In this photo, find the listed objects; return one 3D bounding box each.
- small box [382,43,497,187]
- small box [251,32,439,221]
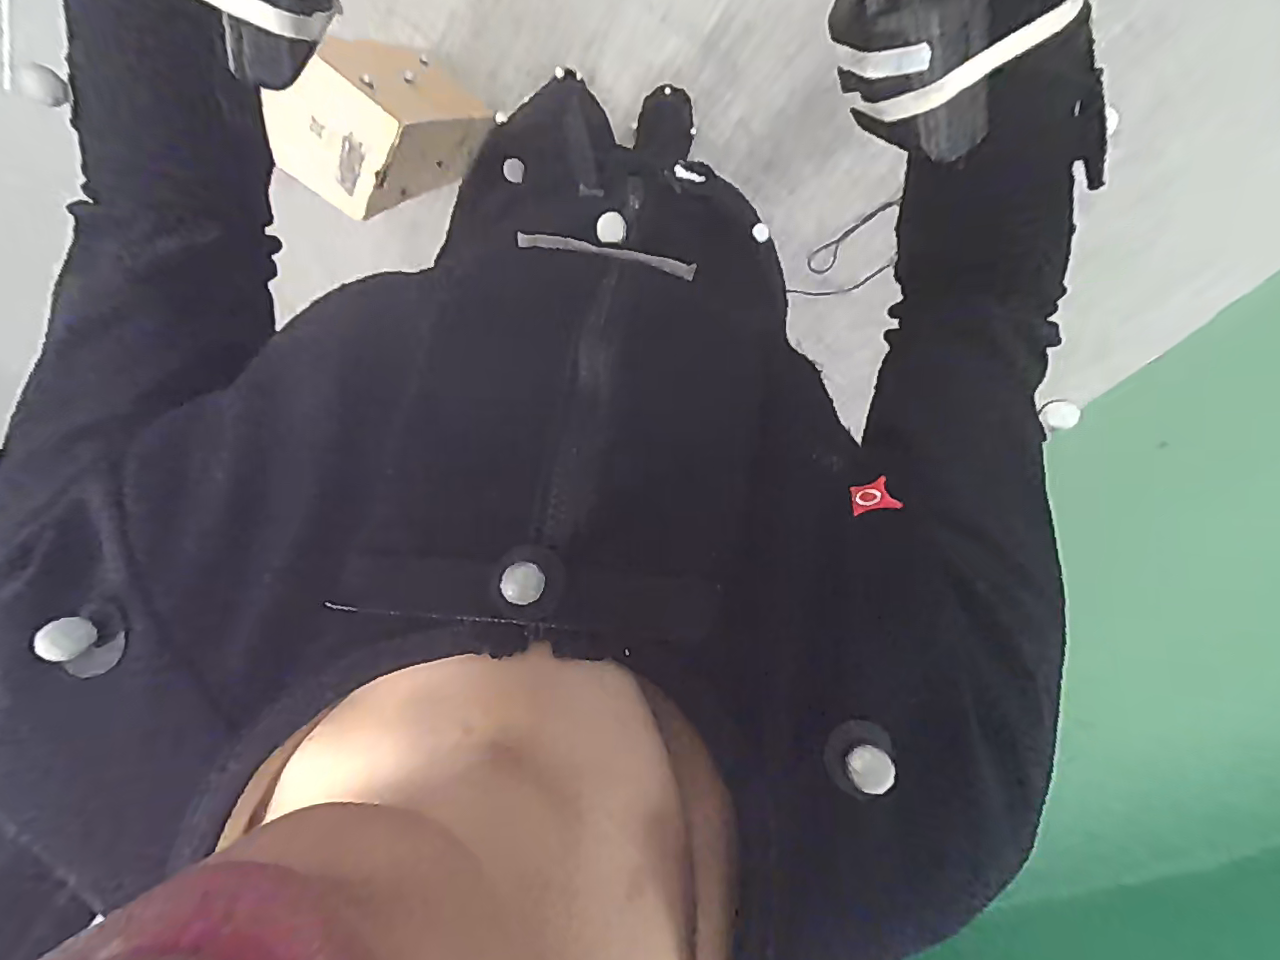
[{"bbox_3d":[-0.423,-0.737,1.101,0.179,0.176,0.168,36,122,-20],"label":"small box"},{"bbox_3d":[-0.444,-0.543,0.839,0.179,0.176,0.168,34,121,-19],"label":"small box"}]
